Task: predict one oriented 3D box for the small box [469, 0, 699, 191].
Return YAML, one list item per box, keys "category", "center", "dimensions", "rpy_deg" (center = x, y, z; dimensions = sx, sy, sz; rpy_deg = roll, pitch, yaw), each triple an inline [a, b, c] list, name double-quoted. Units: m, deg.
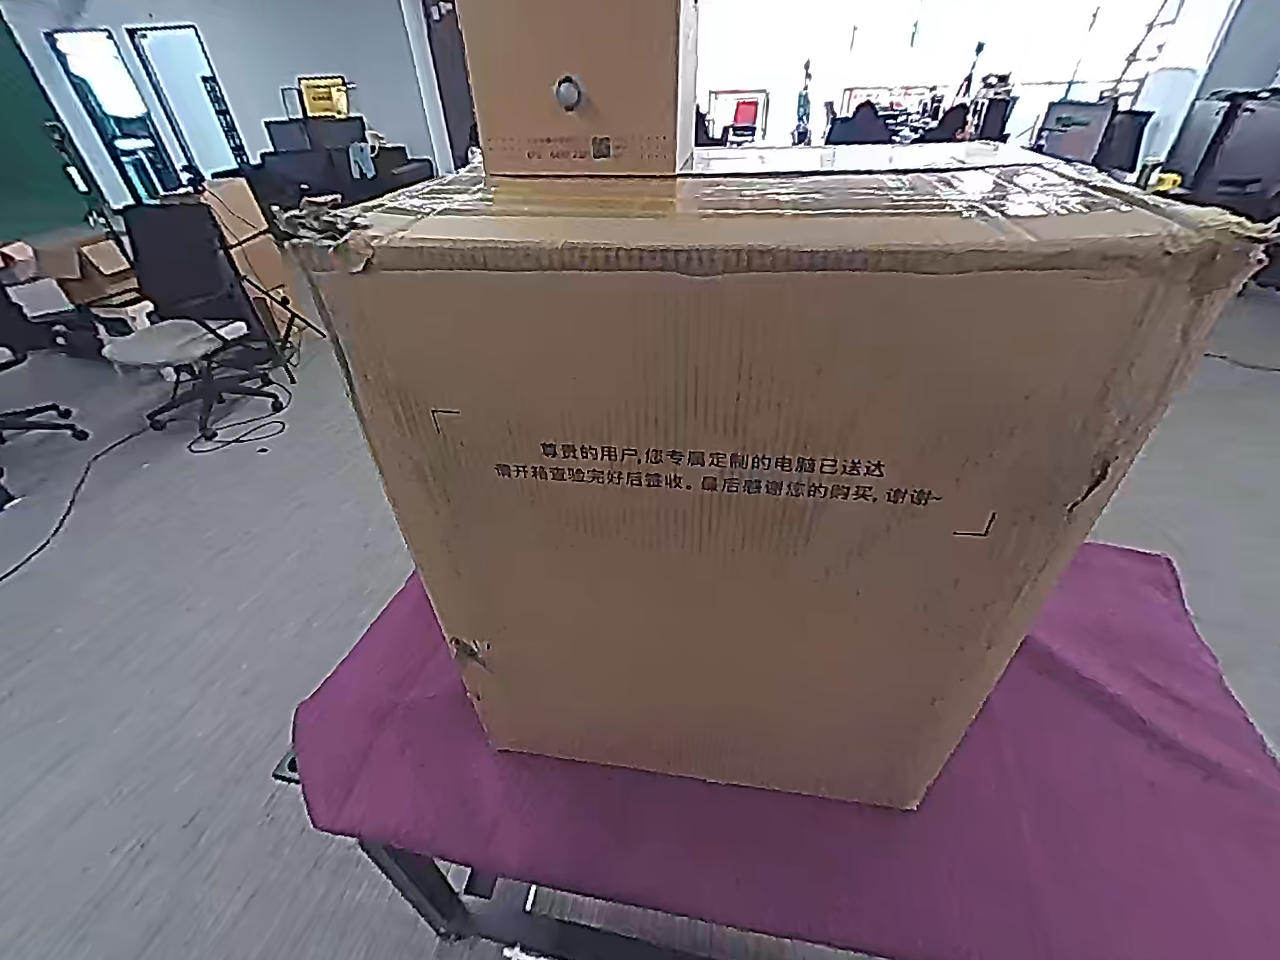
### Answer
- category: "small box"
  center: [-0.039, -0.365, 0.479]
  dimensions: [0.168, 0.176, 0.179]
  rpy_deg: [4, 37, 9]
